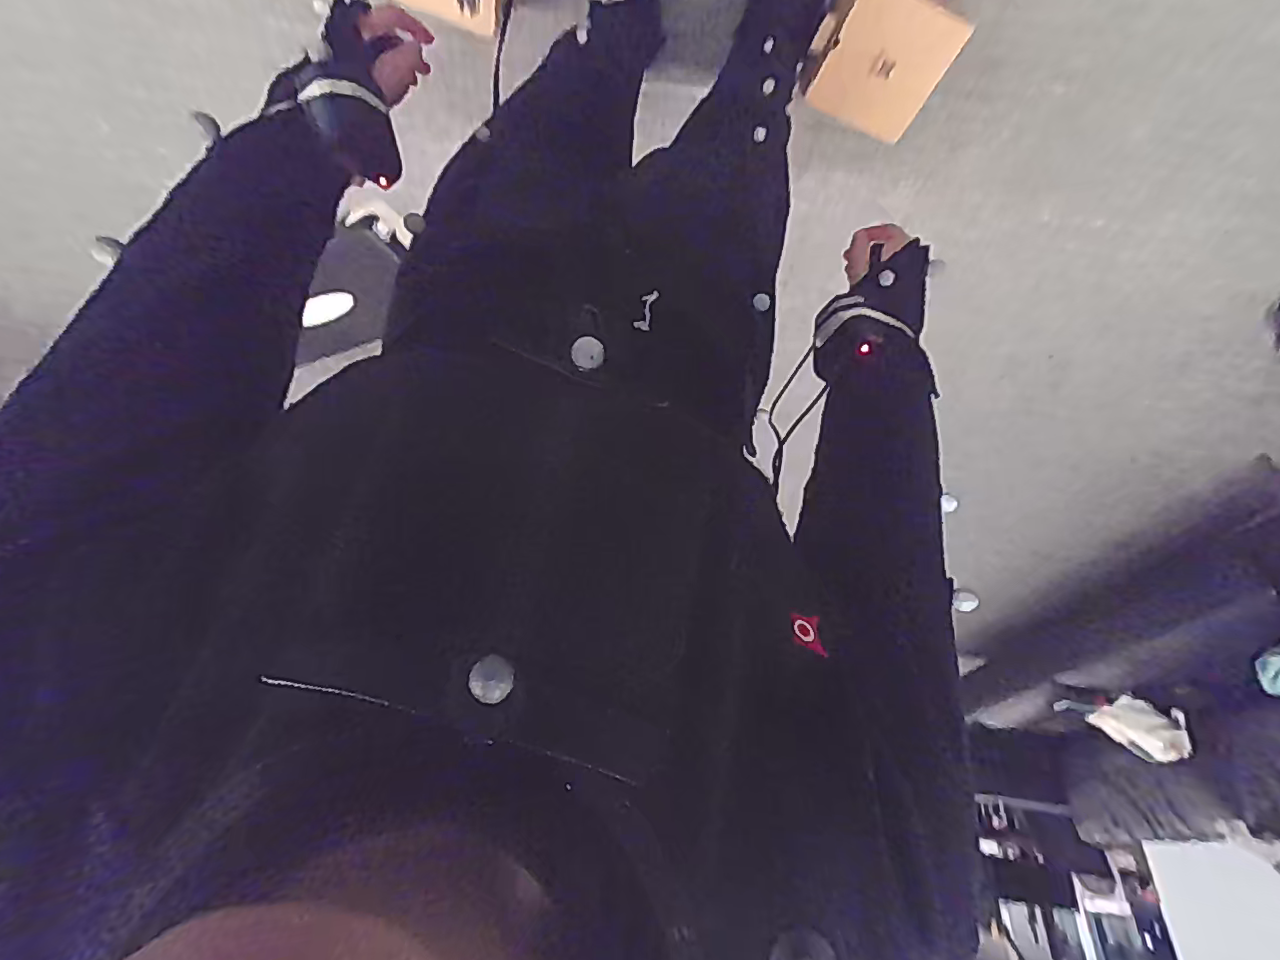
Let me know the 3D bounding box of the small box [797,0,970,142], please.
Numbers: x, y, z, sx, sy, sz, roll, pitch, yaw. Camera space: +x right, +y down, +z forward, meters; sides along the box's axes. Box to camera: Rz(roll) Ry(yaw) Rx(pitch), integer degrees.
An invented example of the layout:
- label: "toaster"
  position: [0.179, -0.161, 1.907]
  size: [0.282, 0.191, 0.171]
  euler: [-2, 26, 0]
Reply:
- label: "small box"
  position: [0.363, -0.677, 0.838]
  size: [0.179, 0.176, 0.168]
  euler: [16, 146, -12]
